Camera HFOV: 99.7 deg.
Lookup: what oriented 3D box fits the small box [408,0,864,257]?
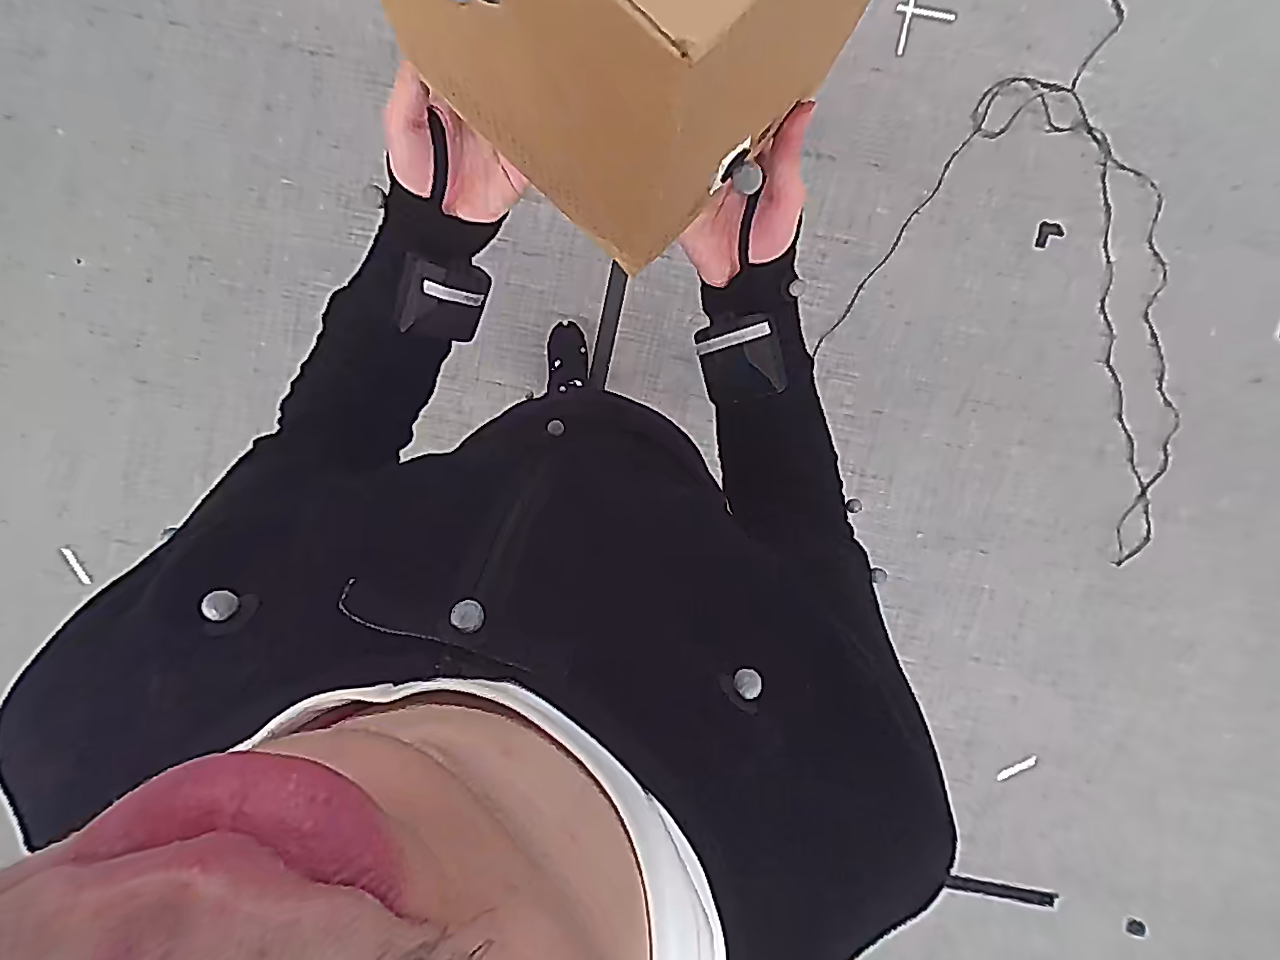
[{"bbox_3d":[-0.001,-0.242,0.246,0.179,0.176,0.168,42,86,-4],"label":"small box"}]
